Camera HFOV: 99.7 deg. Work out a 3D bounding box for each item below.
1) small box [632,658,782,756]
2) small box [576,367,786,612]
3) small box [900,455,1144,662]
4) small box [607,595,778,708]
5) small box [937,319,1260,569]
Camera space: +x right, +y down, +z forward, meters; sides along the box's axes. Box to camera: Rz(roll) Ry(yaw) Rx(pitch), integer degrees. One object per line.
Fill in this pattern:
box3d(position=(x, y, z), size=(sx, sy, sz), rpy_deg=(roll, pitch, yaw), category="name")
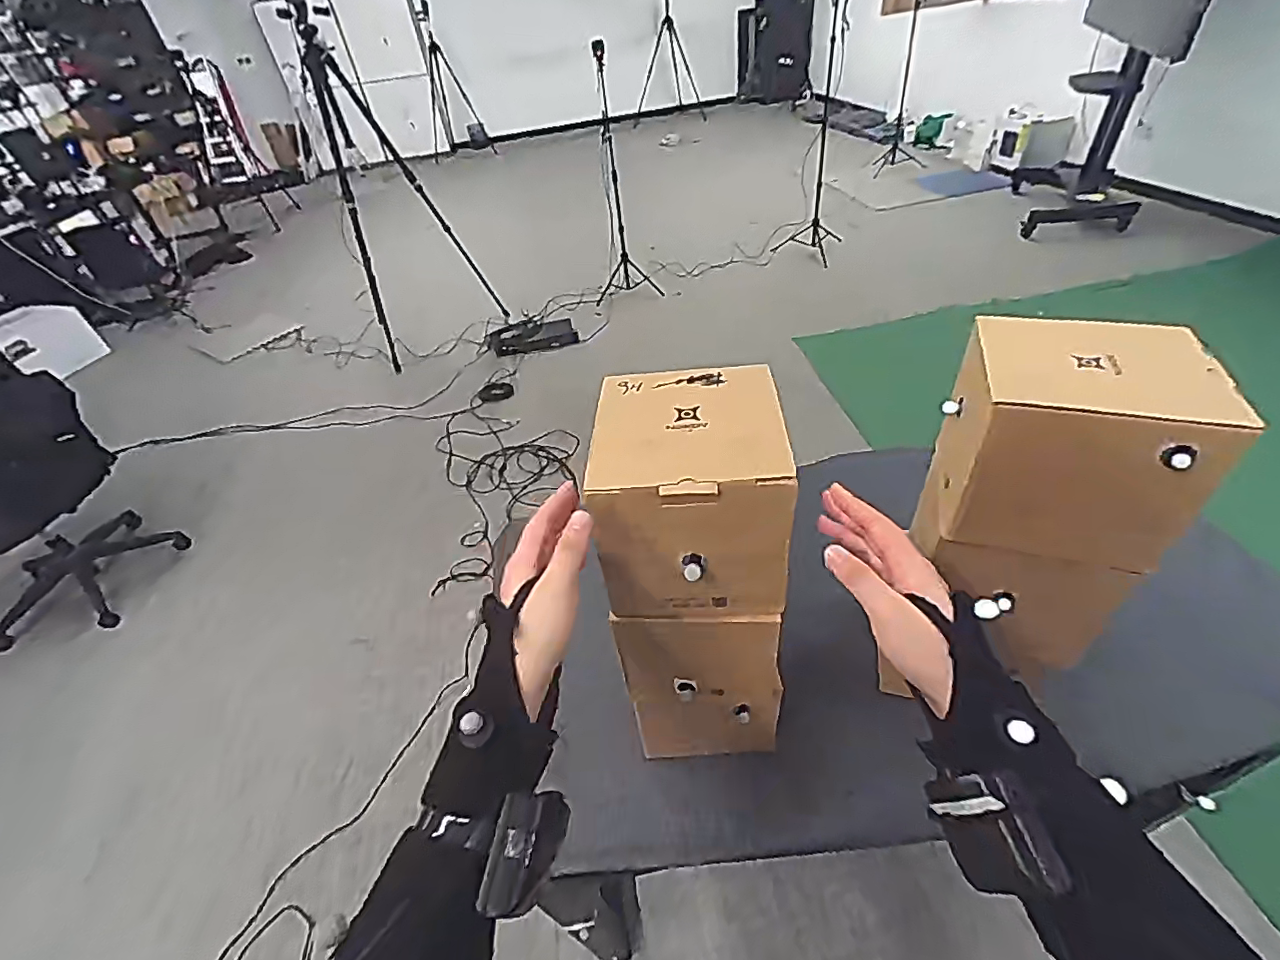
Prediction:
box3d(position=(0.084, 0.257, 0.736), size=(0.179, 0.176, 0.168), rpy_deg=(-6, 41, 4), category="small box")
box3d(position=(0.046, 0.014, 0.523), size=(0.168, 0.176, 0.179), rpy_deg=(-3, 42, 7), category="small box")
box3d(position=(0.417, 0.083, 0.624), size=(0.179, 0.176, 0.168), rpy_deg=(11, 44, 21), category="small box")
box3d(position=(0.065, 0.139, 0.626), size=(0.168, 0.176, 0.179), rpy_deg=(-3, 43, 8), category="small box")
box3d(position=(0.397, -0.037, 0.517), size=(0.179, 0.176, 0.168), rpy_deg=(10, 44, 18), category="small box")
